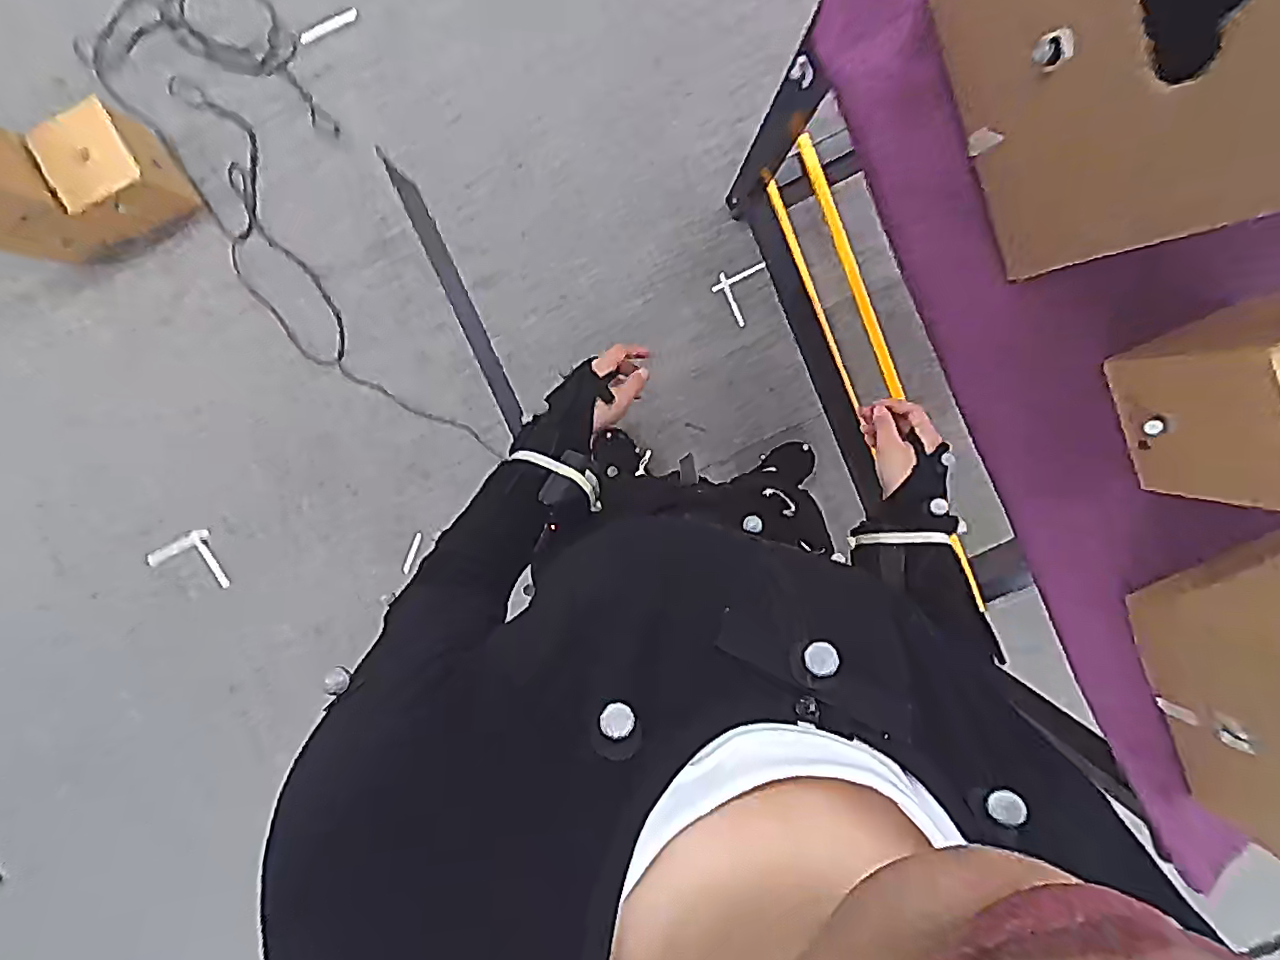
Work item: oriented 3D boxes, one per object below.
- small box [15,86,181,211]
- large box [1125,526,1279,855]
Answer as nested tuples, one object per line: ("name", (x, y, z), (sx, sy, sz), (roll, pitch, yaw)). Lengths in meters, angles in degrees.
("small box", (-1.087, -0.661, 1.096), (0.168, 0.176, 0.179), (-3, 109, -15))
("large box", (0.833, 0.213, 0.529), (0.408, 0.320, 0.320), (-25, 98, 1))
